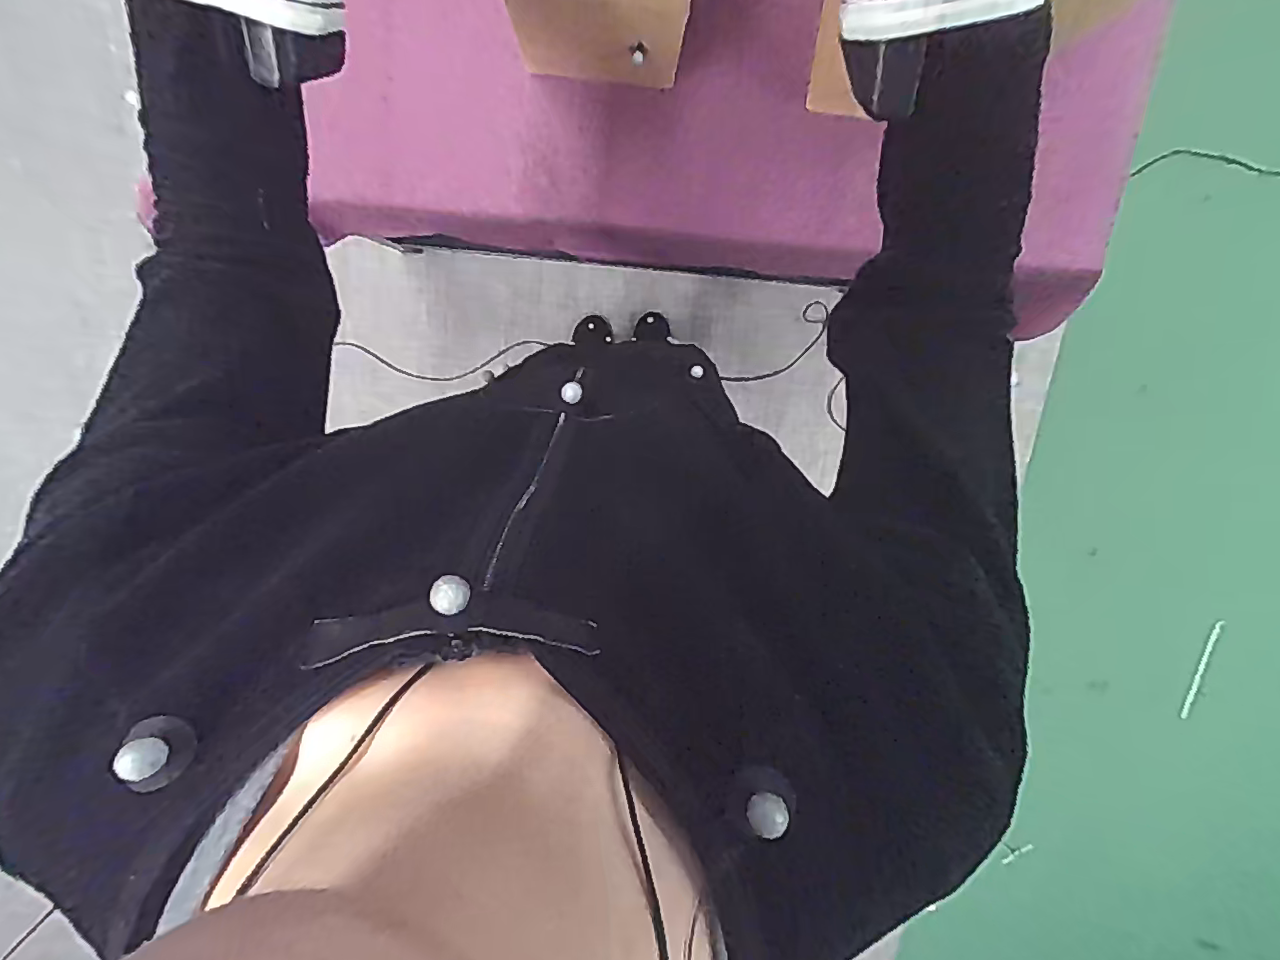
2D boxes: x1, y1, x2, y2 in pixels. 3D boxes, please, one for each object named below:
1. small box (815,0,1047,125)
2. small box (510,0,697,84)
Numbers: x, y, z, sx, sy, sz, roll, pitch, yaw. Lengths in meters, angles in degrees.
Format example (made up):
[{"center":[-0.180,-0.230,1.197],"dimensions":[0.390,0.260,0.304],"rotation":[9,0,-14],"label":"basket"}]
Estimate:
[{"center":[0.300,-0.507,0.570],"dimensions":[0.168,0.176,0.179],"rotation":[6,104,-4],"label":"small box"},{"center":[-0.032,-0.534,0.546],"dimensions":[0.179,0.176,0.168],"rotation":[4,104,-4],"label":"small box"}]
